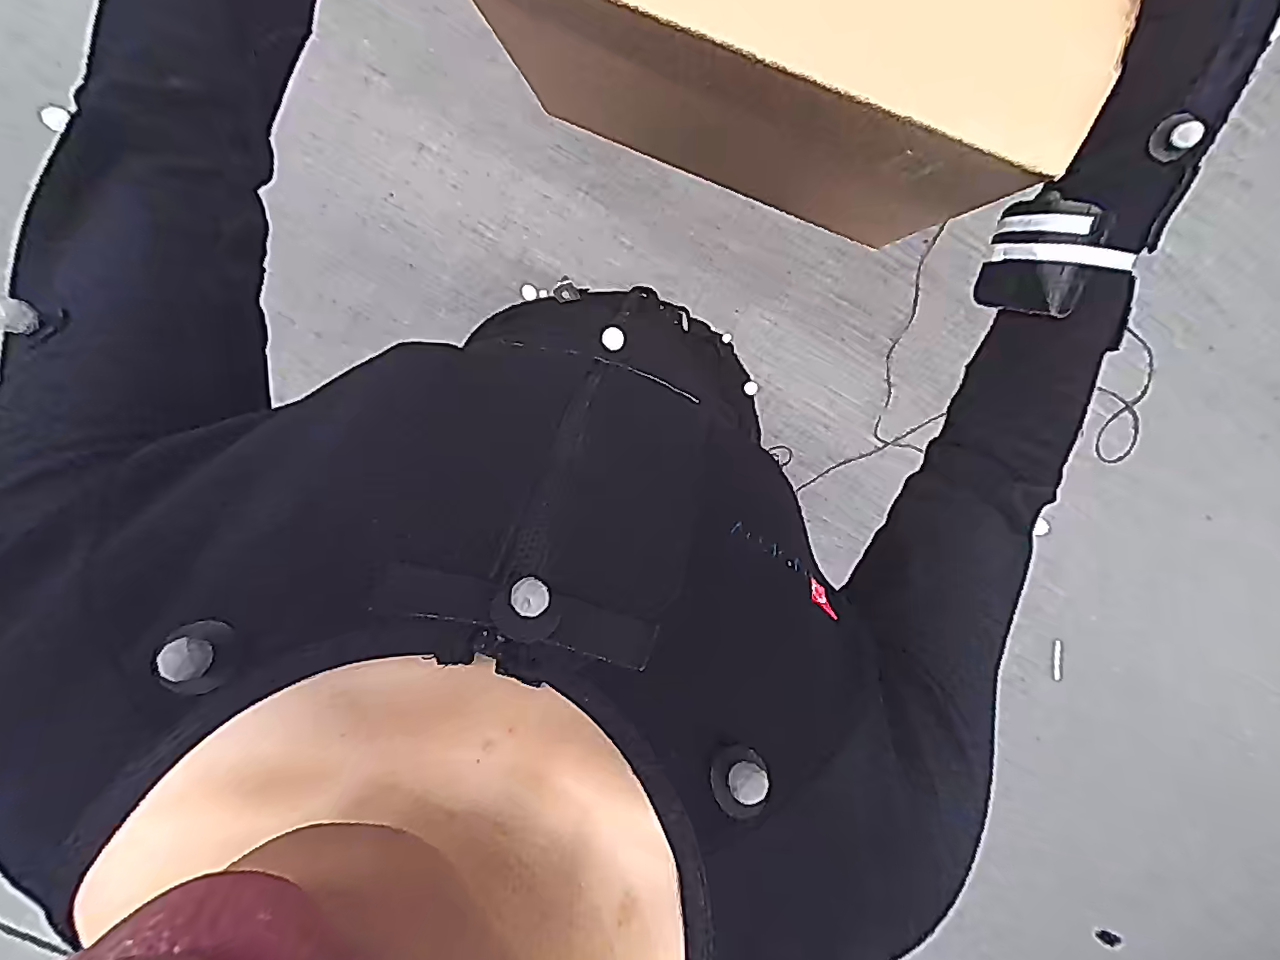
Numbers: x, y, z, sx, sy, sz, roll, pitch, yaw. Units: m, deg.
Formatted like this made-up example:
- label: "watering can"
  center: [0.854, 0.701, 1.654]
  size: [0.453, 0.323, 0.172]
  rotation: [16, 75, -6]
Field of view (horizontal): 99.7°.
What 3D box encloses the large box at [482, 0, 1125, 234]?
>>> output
- label: "large box"
  center: [0.119, -0.438, 0.424]
  size: [0.408, 0.320, 0.320]
  rotation: [20, 107, -2]
